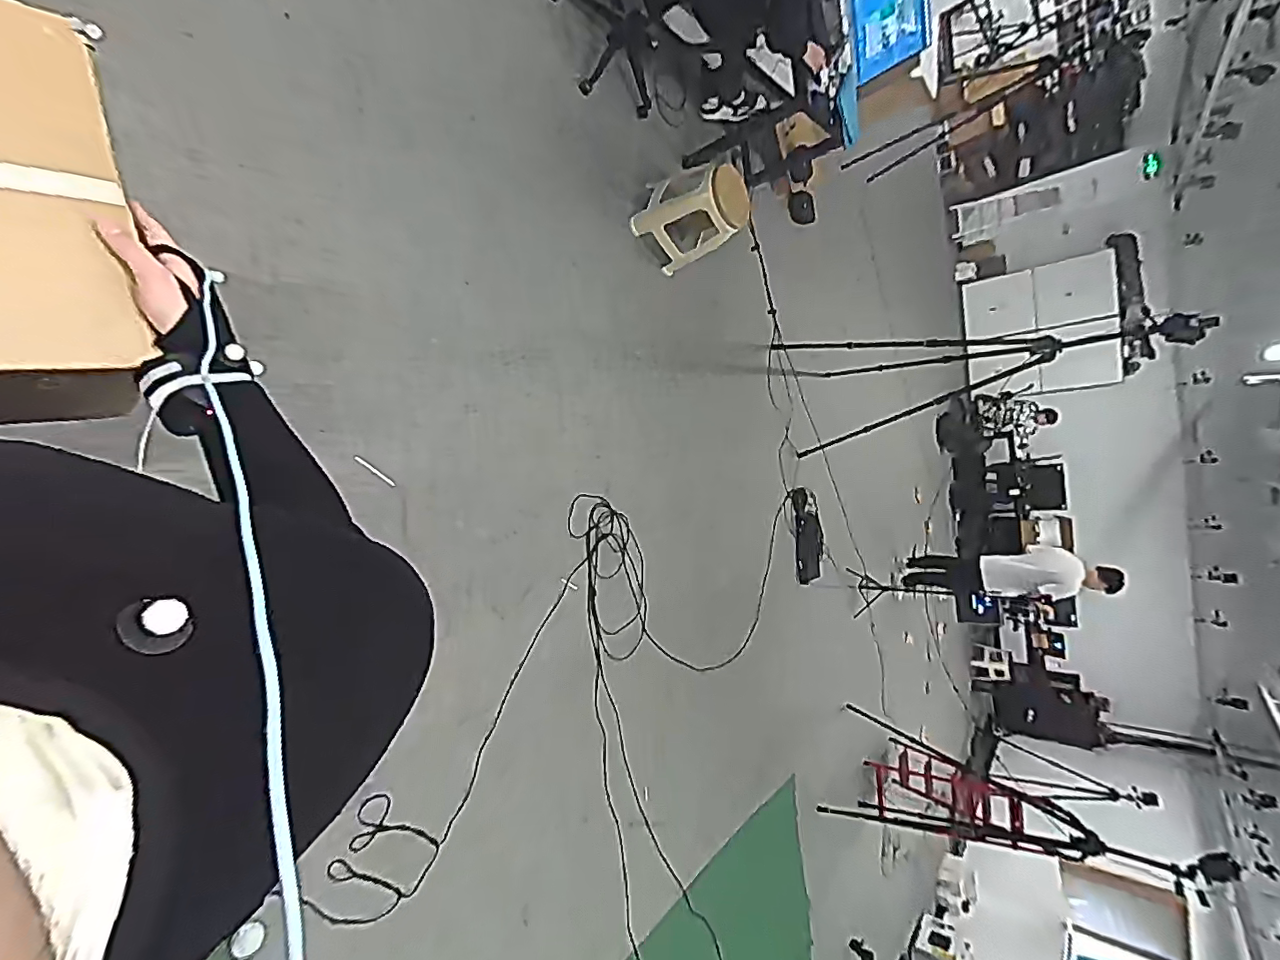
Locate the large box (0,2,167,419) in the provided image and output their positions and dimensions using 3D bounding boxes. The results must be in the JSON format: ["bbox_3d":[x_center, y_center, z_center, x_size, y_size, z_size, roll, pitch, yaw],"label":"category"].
[{"bbox_3d":[-0.723,-0.216,0.459,0.408,0.320,0.320,-16,98,-49],"label":"large box"}]
